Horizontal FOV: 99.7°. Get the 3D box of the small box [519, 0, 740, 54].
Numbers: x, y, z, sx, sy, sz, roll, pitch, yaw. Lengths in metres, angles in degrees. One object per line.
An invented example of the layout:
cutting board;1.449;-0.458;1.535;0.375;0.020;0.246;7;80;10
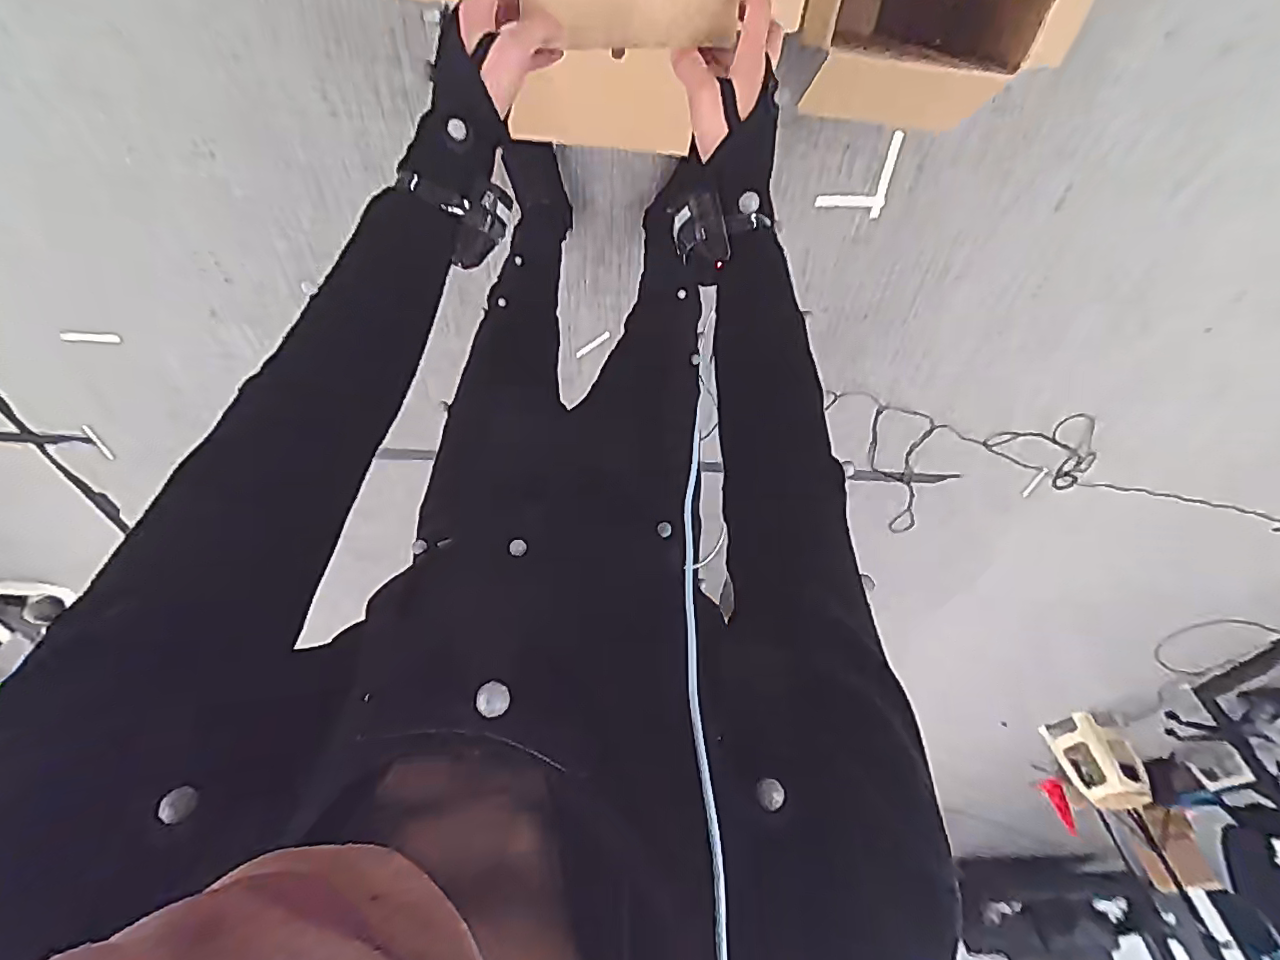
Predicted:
small box;-0.004;-0.467;0.445;0.179;0.176;0.168;2;134;1
